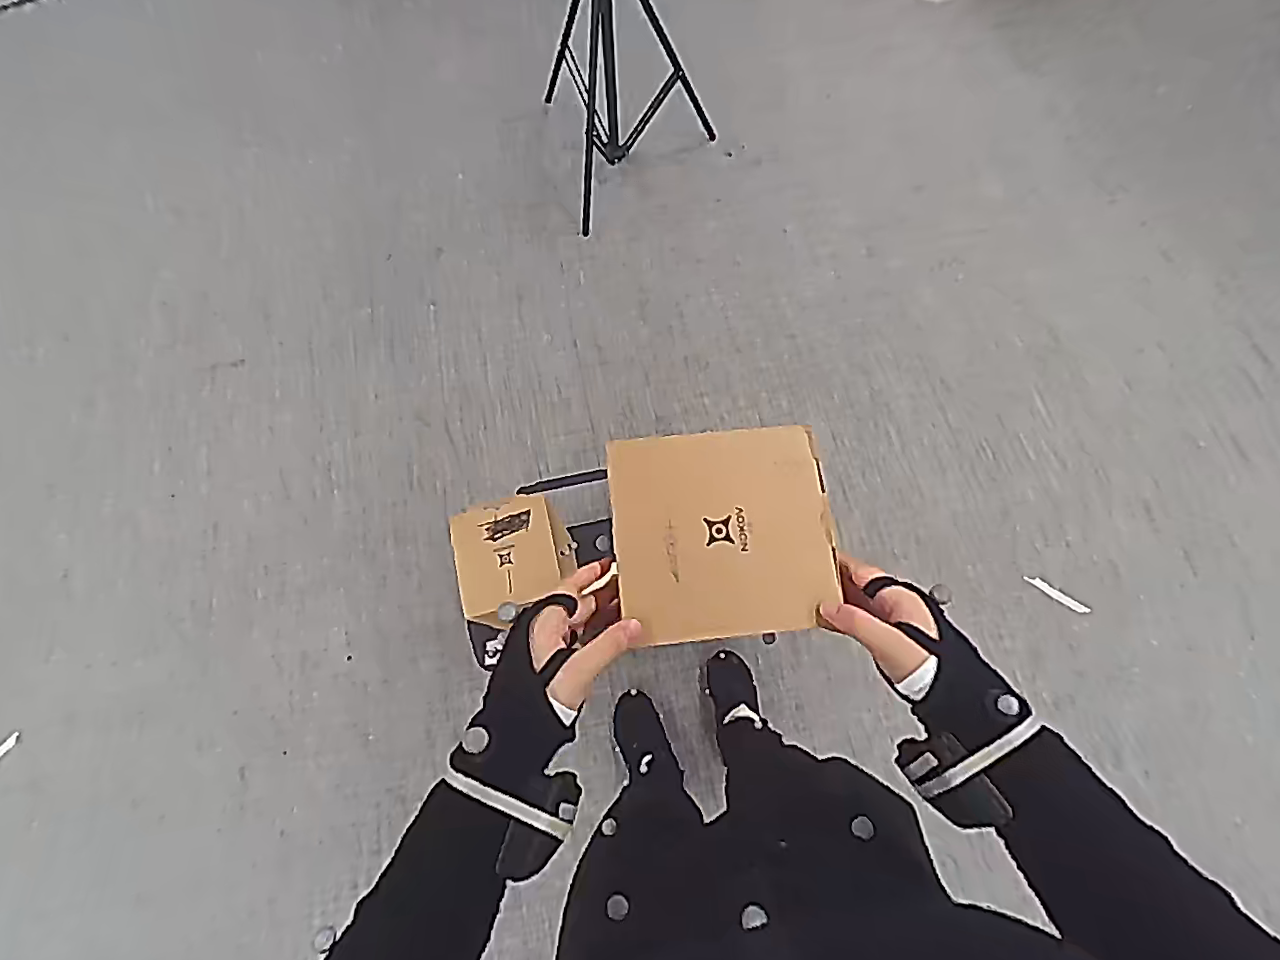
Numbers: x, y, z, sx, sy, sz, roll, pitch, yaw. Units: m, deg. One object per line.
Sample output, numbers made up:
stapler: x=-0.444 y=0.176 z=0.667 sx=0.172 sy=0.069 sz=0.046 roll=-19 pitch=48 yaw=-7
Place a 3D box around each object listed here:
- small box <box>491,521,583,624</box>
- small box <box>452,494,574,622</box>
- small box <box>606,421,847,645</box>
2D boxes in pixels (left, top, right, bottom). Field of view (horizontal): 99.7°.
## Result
small box: x=-0.217 y=0.201 z=1.120 sx=0.168 sy=0.176 sz=0.179 roll=-12 pitch=72 yaw=-3
small box: x=-0.221 y=0.145 z=0.966 sx=0.168 sy=0.176 sz=0.179 roll=-13 pitch=73 yaw=-4
small box: x=0.063 y=0.054 z=0.506 sx=0.179 sy=0.176 sz=0.168 roll=-7 pitch=77 yaw=-3
